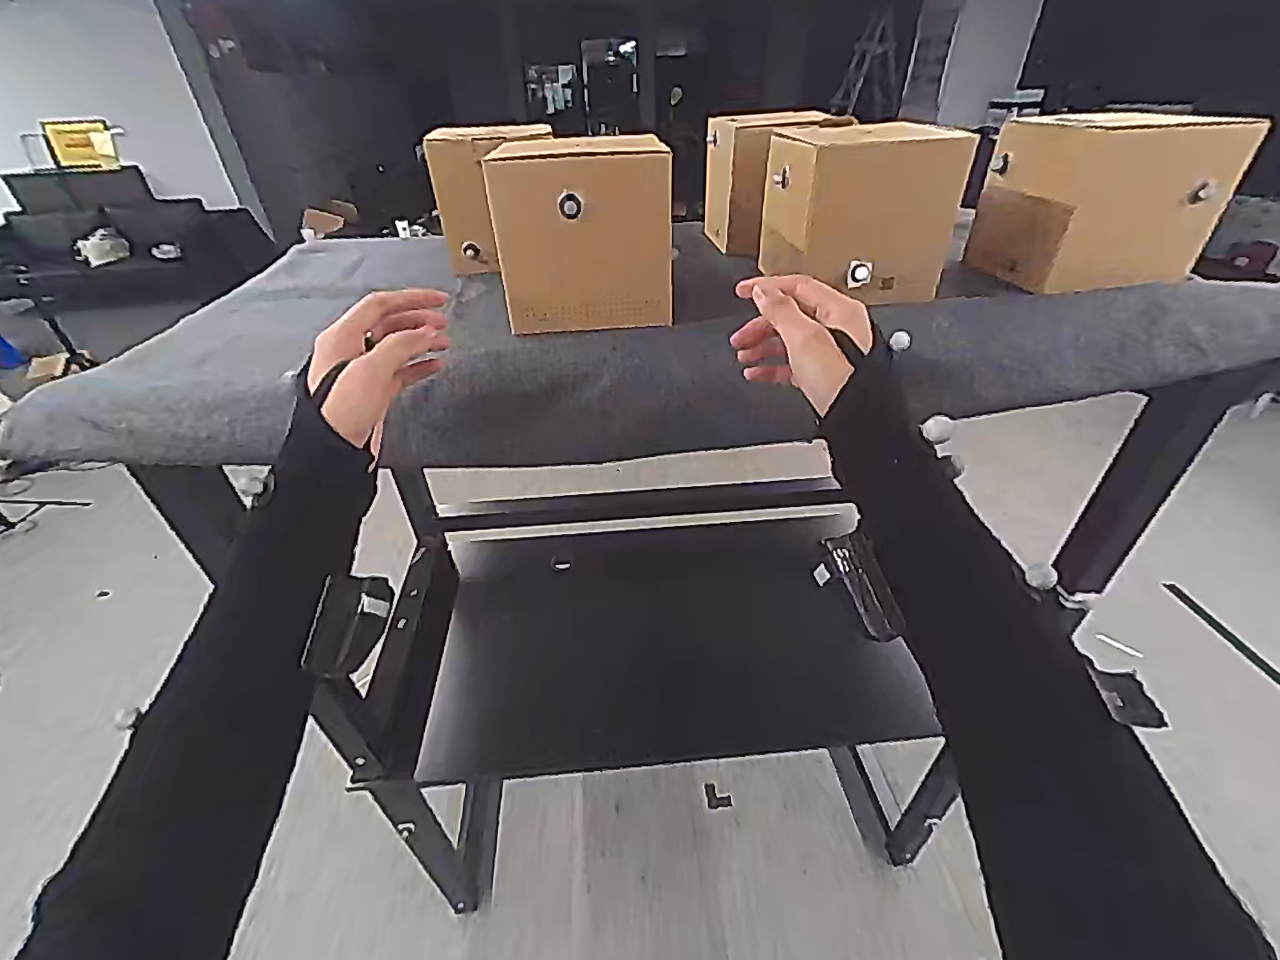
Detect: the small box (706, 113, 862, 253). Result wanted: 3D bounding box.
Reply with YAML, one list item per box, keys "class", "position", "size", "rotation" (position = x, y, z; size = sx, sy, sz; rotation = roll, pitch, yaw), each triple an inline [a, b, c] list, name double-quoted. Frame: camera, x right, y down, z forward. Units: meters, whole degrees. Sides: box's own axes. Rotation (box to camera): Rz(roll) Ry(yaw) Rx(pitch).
- class: "small box"
  position: [0.205, -0.454, 0.825]
  size: [0.179, 0.176, 0.168]
  rotation: [-4, 36, -4]

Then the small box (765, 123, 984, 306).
- class: "small box"
  position: [0.251, -0.313, 0.634]
  size: [0.168, 0.176, 0.179]
  rotation: [-4, 36, -1]

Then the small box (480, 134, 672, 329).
- class: "small box"
  position: [-0.059, -0.273, 0.595]
  size: [0.179, 0.176, 0.168]
  rotation: [-3, 37, -2]

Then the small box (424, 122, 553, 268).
- class: "small box"
  position: [-0.199, -0.415, 0.793]
  size: [0.168, 0.176, 0.179]
  rotation: [-6, 37, -6]
